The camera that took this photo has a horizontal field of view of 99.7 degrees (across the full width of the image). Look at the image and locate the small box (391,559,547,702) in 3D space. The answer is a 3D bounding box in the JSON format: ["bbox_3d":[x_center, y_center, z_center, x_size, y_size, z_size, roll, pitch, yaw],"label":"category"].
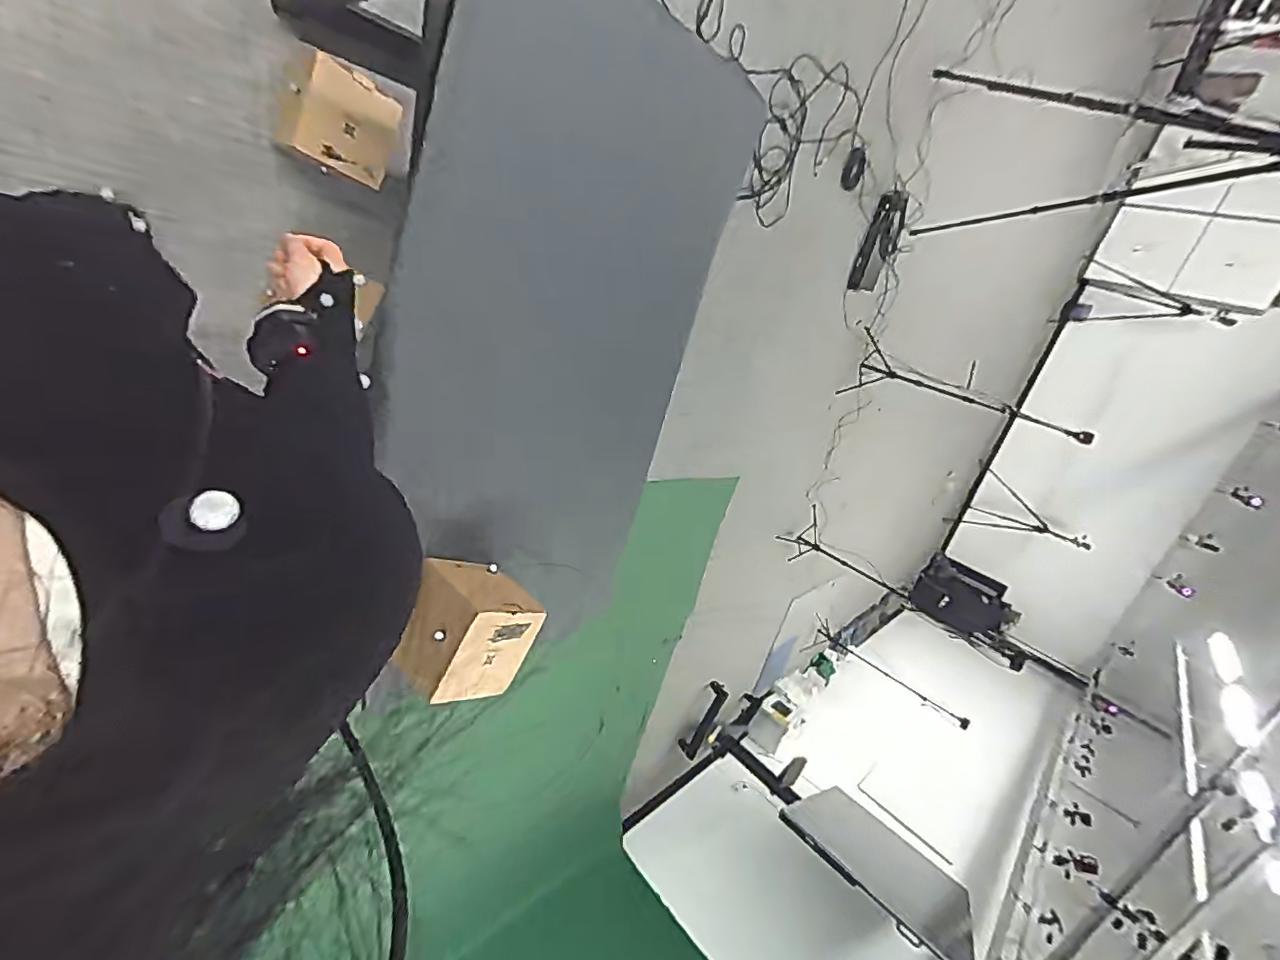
[{"bbox_3d":[-0.303,0.256,0.950,0.168,0.176,0.179,23,96,-55],"label":"small box"}]

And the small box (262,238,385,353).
[{"bbox_3d":[-0.722,-0.418,1.224,0.168,0.176,0.179,22,97,-54],"label":"small box"}]

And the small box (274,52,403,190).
[{"bbox_3d":[-0.625,-0.732,1.113,0.168,0.176,0.179,9,107,-51],"label":"small box"}]
